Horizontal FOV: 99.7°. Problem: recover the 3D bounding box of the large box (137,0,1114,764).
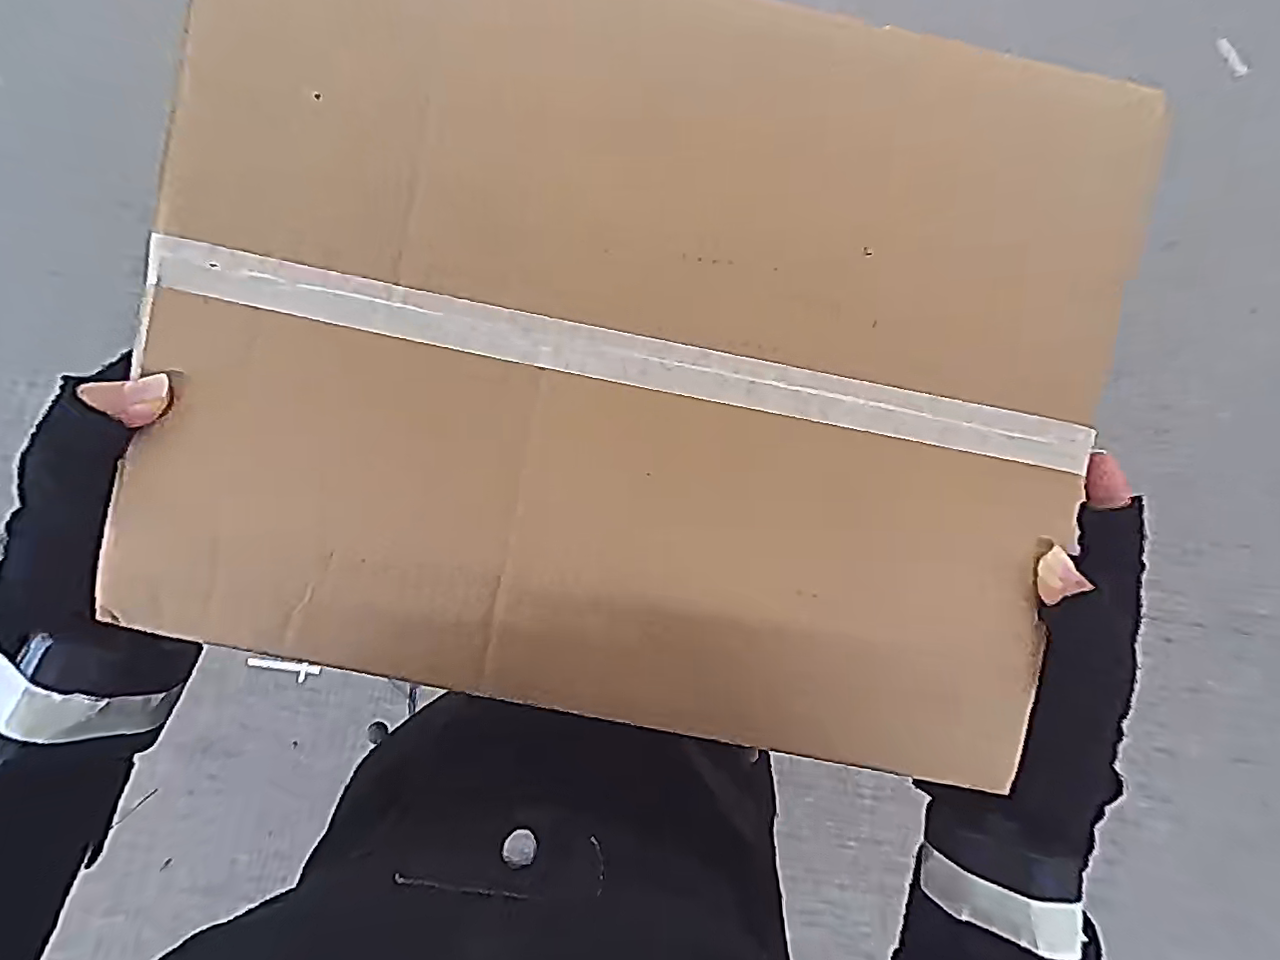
[{"bbox_3d":[-0.010,-0.055,0.392,0.408,0.320,0.320,11,92,-2],"label":"large box"}]
